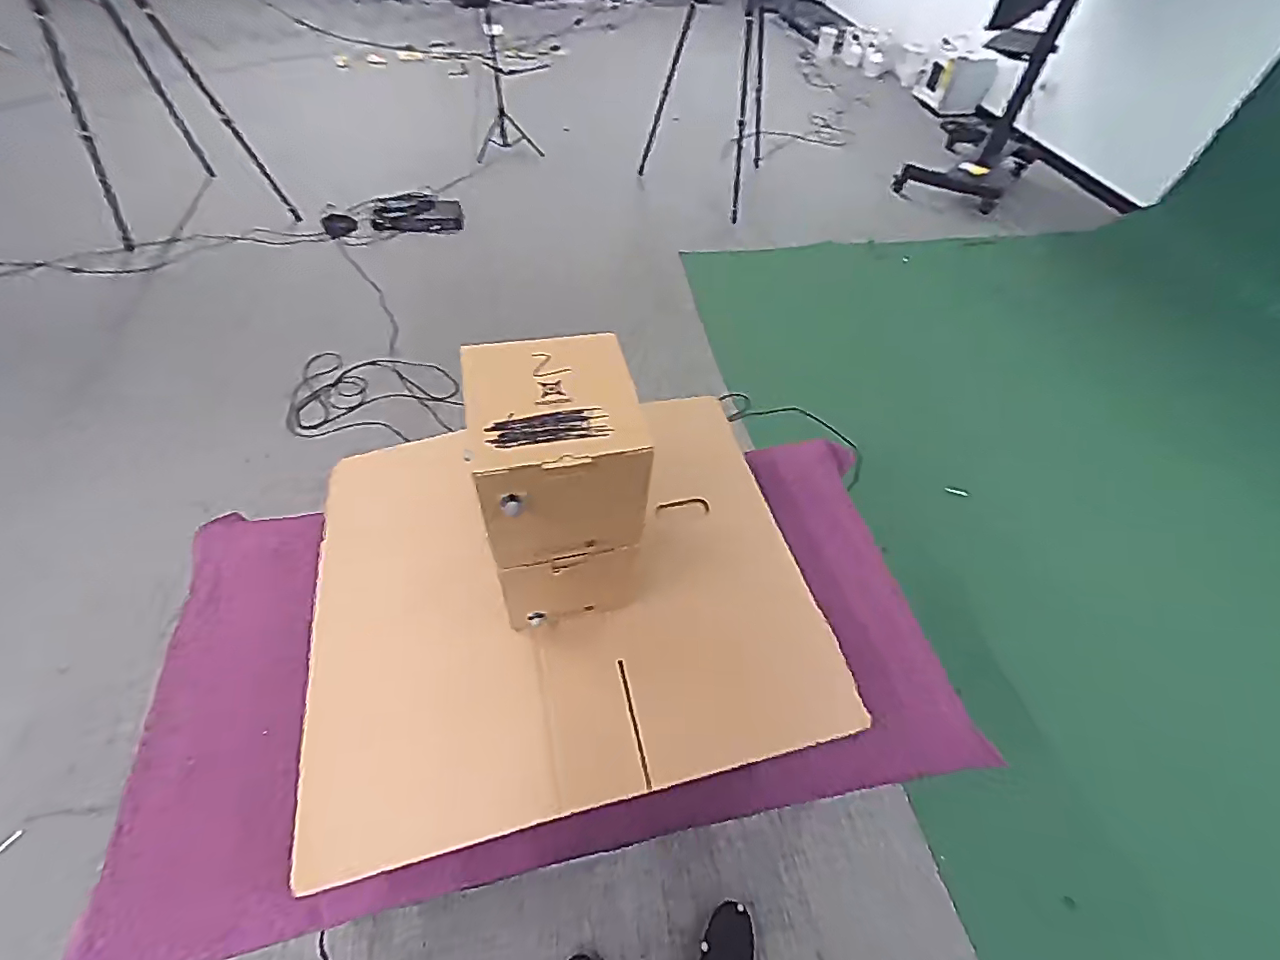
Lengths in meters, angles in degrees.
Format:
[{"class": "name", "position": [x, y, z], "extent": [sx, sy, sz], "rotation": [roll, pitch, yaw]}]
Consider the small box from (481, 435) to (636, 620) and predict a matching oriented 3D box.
[{"class": "small box", "position": [-0.107, 0.068, 0.712], "extent": [0.168, 0.176, 0.179], "rotation": [-9, 53, -13]}]
